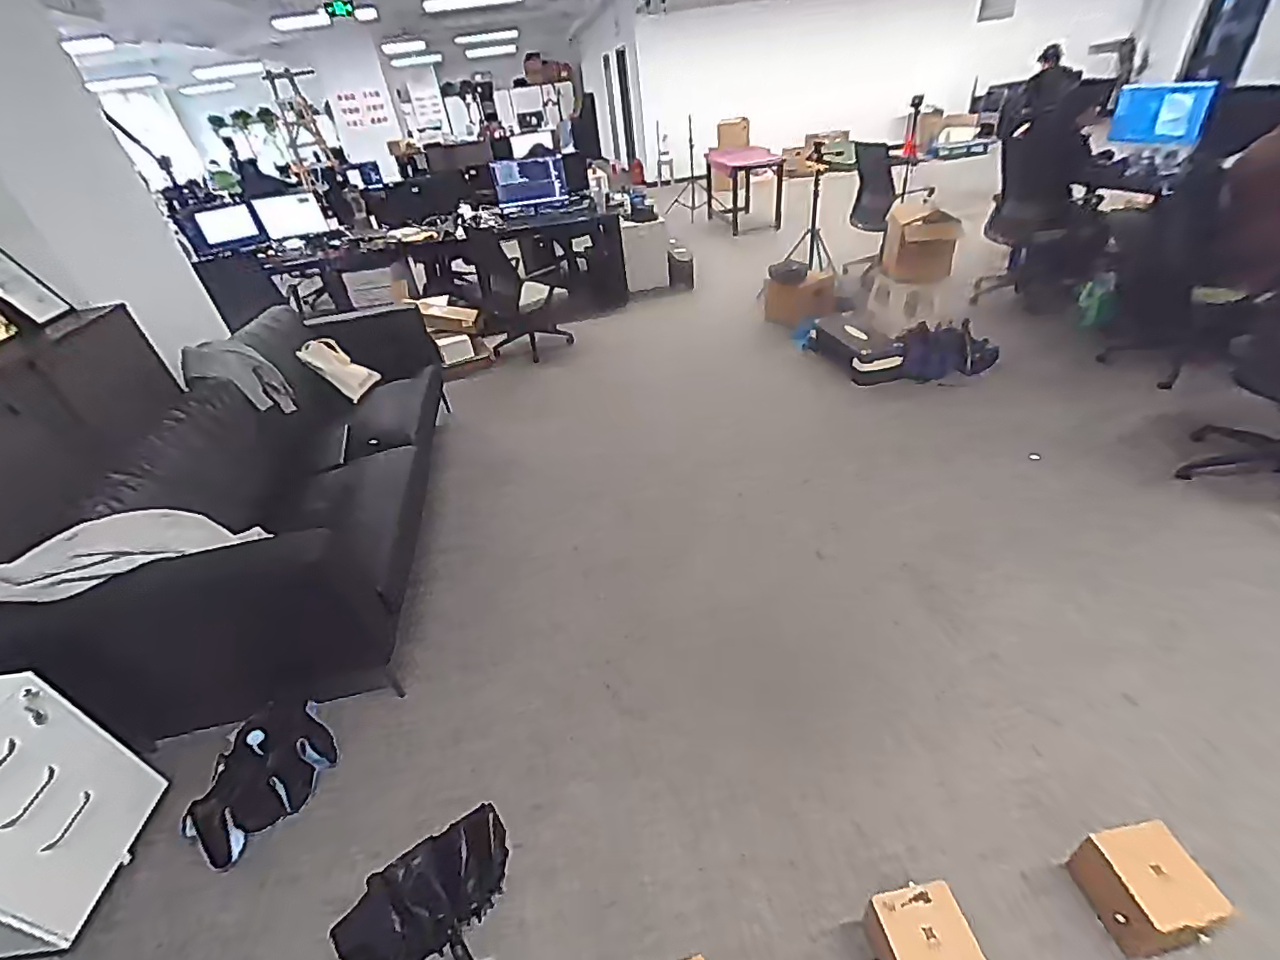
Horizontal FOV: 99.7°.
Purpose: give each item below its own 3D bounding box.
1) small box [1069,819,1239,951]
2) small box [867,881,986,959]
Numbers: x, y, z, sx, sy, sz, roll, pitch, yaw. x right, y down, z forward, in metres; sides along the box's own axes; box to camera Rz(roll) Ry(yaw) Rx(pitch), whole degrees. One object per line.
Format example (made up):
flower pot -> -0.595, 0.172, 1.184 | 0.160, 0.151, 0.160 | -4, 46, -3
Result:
small box -> 1.079, 0.868, 1.155 | 0.168, 0.176, 0.179 | -11, 34, -3
small box -> 0.591, 0.974, 1.118 | 0.168, 0.176, 0.179 | -11, 36, -2
